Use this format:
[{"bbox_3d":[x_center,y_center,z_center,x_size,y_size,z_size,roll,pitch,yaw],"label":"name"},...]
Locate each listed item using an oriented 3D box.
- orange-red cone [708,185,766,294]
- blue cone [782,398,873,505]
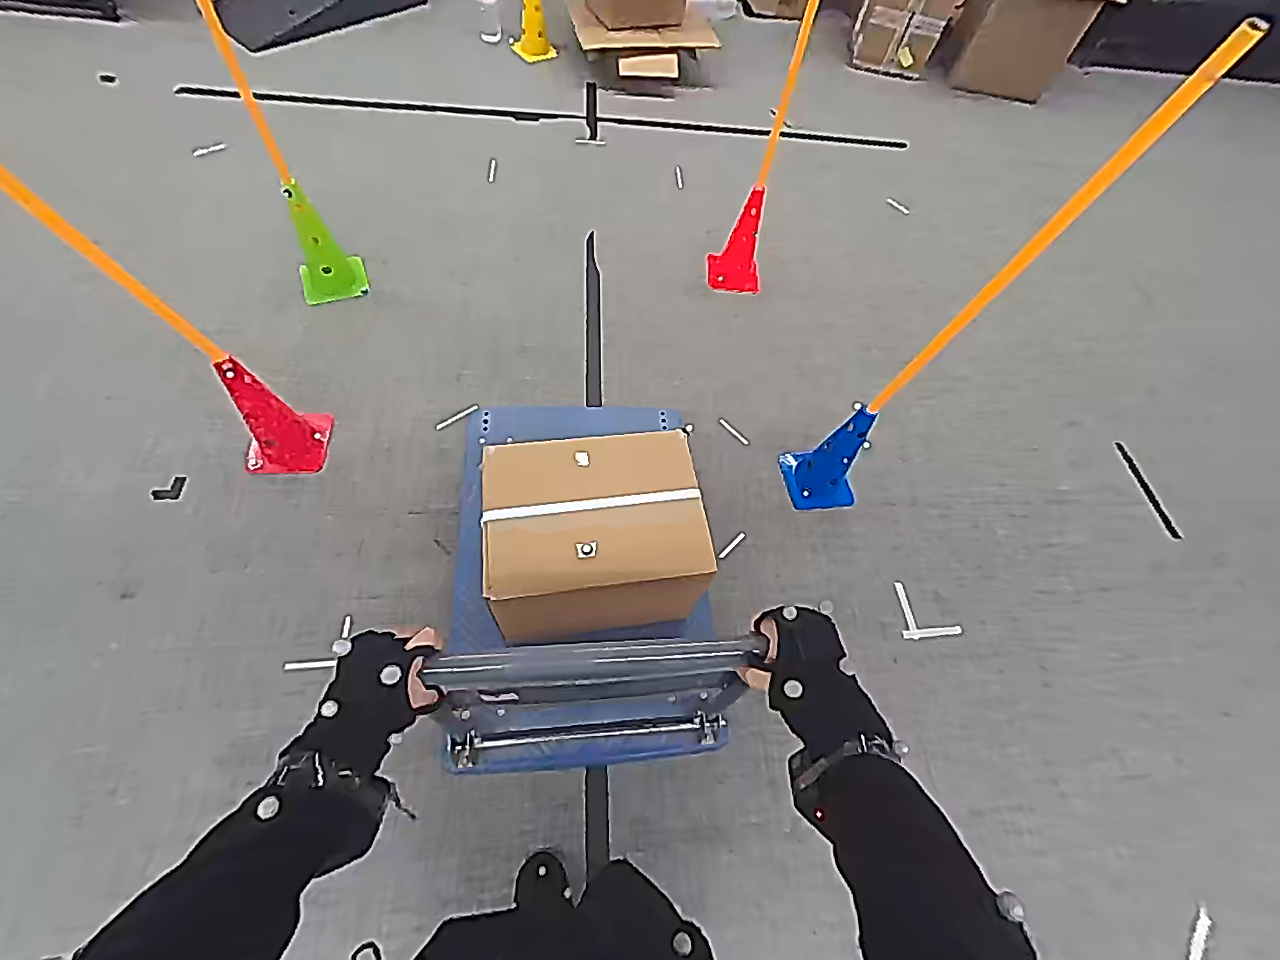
[{"bbox_3d":[0.383,-0.885,1.950,0.199,0.360,0.198,6,61,-5],"label":"orange-red cone"},{"bbox_3d":[0.565,-0.092,1.538,0.193,0.380,0.192,-4,60,-9],"label":"blue cone"}]
